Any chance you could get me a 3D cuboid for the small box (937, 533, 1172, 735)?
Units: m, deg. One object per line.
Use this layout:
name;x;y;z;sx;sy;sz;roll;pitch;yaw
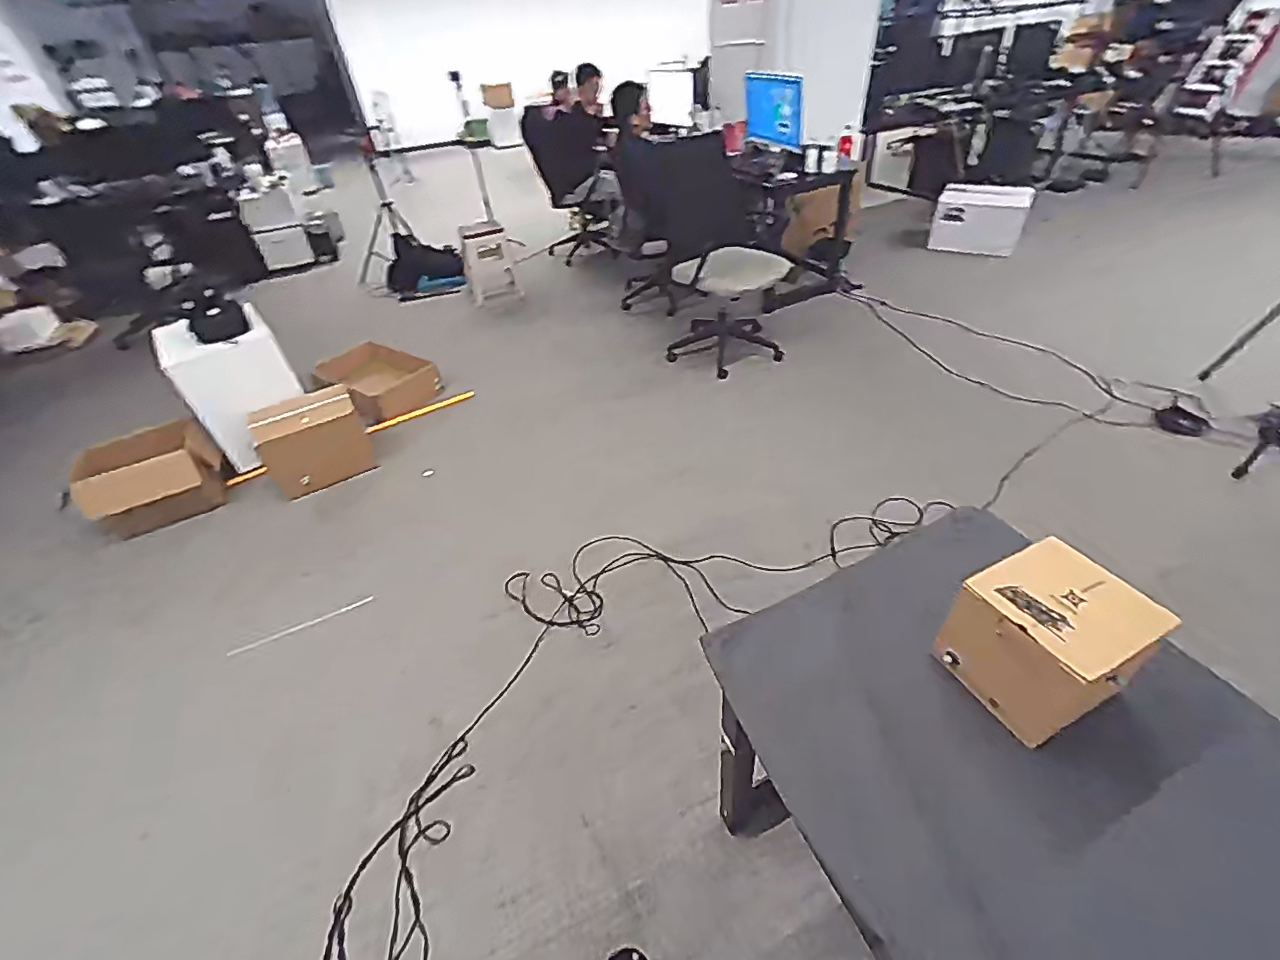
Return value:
small box;0.537;0.208;0.733;0.179;0.176;0.168;-20;43;-17
